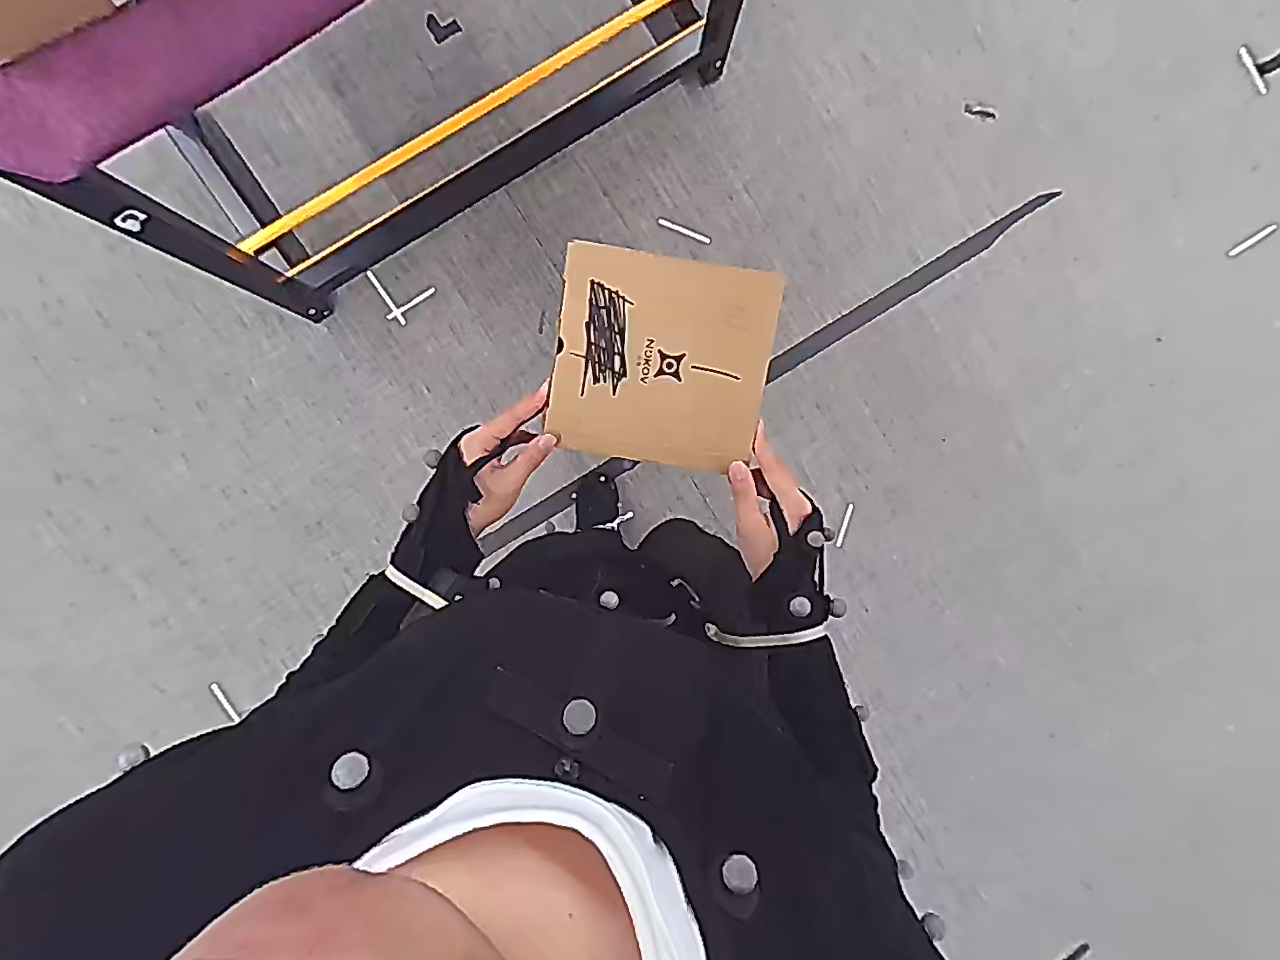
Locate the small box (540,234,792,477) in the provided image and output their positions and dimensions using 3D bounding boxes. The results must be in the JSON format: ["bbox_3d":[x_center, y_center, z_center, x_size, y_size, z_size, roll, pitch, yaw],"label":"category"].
[{"bbox_3d":[0.020,-0.106,0.505,0.179,0.176,0.168,10,98,-1],"label":"small box"}]
